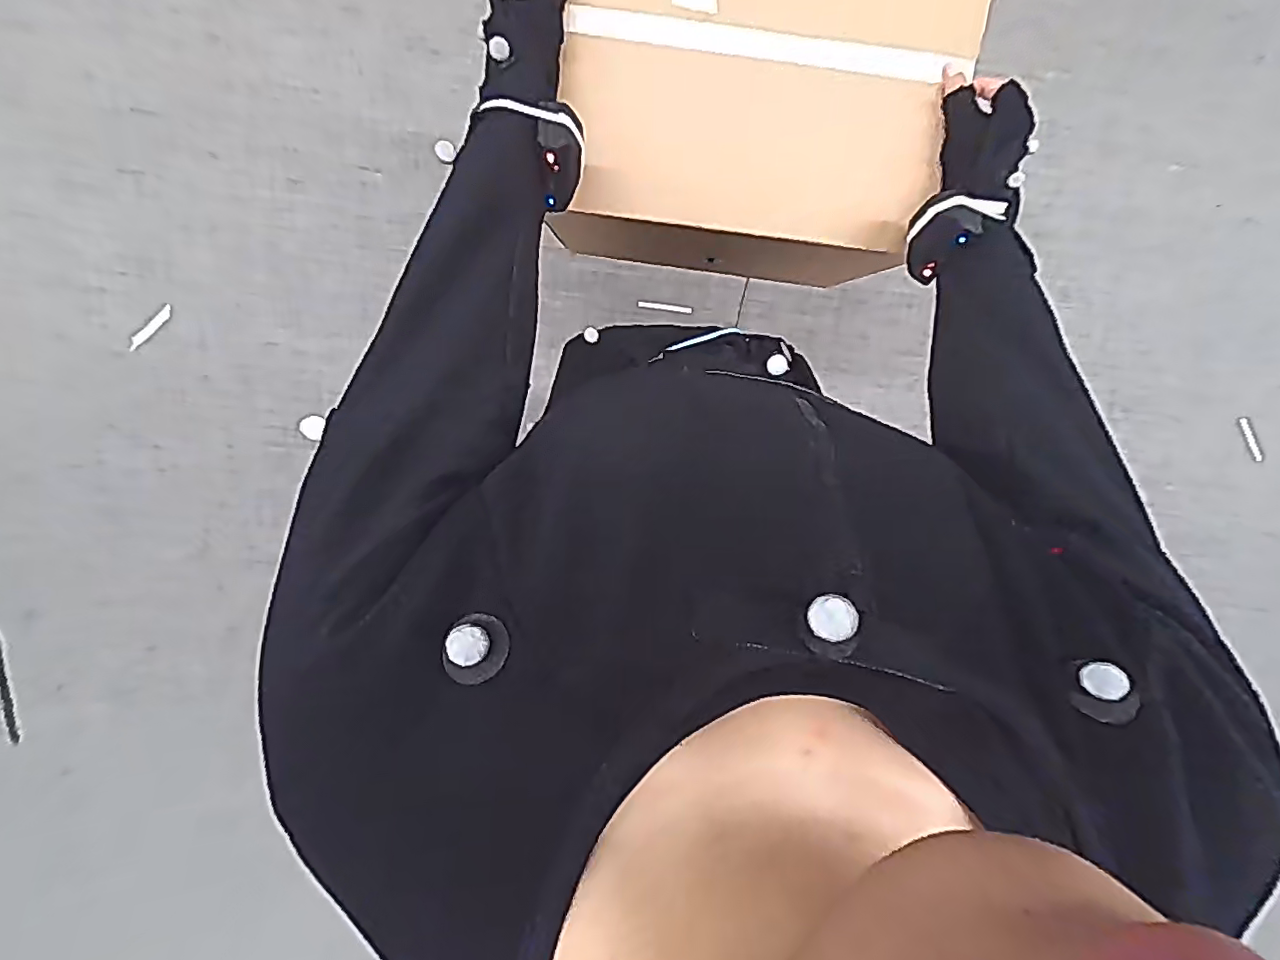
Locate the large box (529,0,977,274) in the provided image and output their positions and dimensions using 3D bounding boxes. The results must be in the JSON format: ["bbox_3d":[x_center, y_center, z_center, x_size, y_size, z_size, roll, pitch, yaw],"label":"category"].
[{"bbox_3d":[0.108,-0.444,0.647,0.408,0.320,0.320,8,104,-1],"label":"large box"}]
